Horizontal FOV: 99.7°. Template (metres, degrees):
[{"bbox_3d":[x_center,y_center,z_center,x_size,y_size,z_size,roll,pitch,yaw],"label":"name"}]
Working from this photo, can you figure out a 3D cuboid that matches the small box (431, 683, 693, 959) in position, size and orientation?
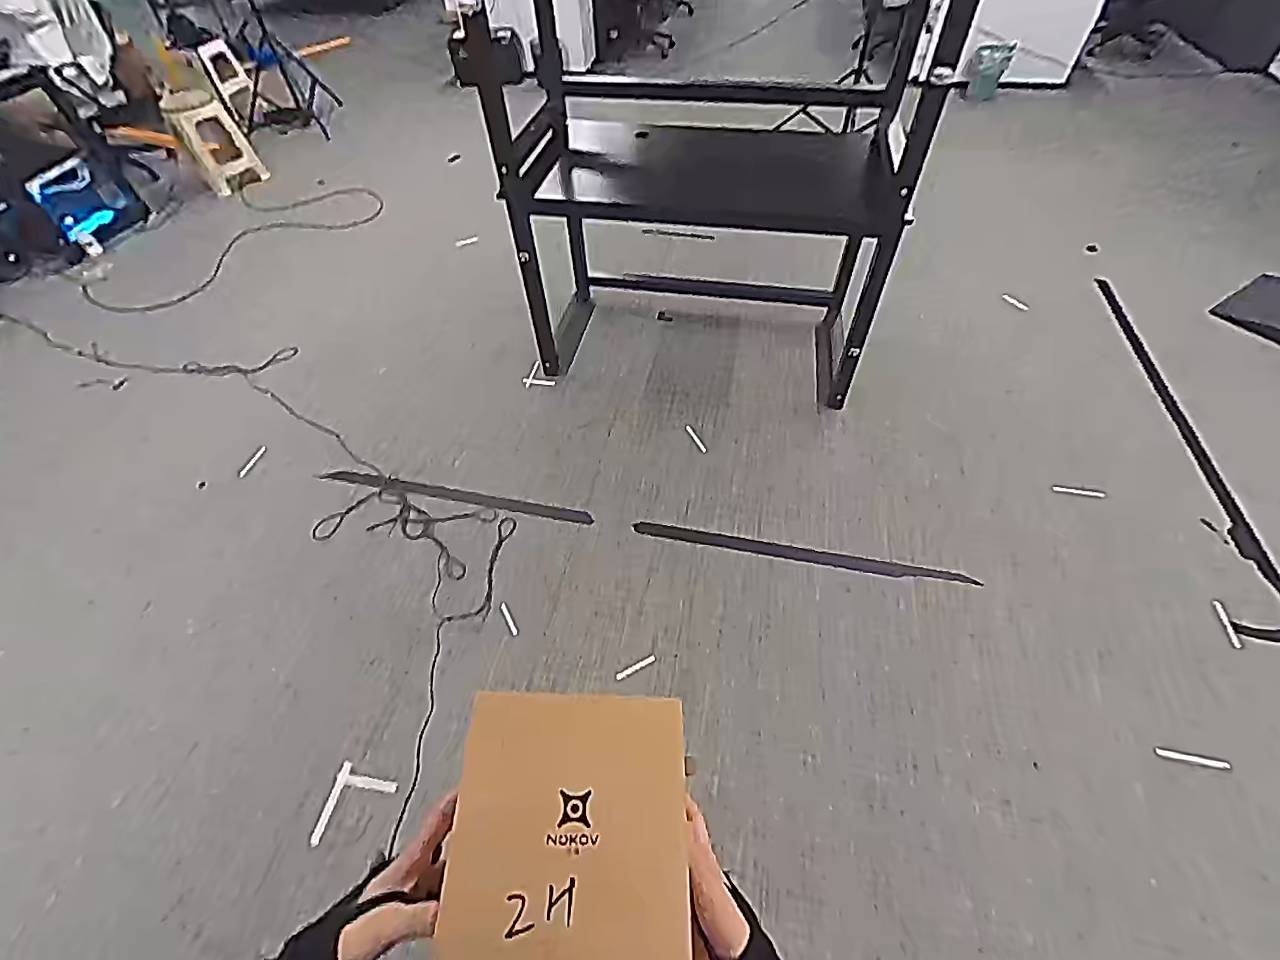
[{"bbox_3d":[-0.055,0.283,0.447,0.168,0.176,0.179,3,54,-5],"label":"small box"}]
